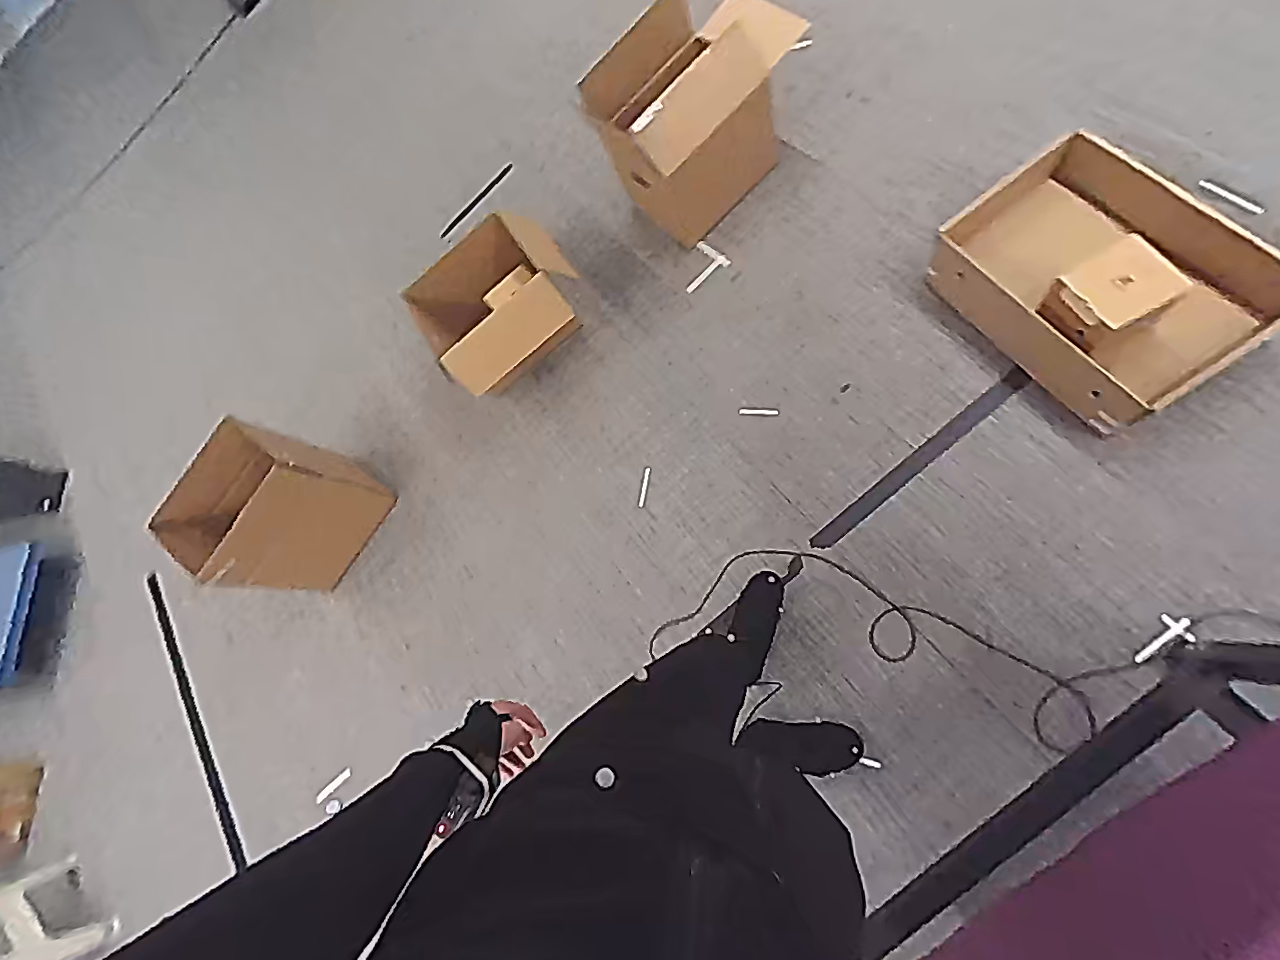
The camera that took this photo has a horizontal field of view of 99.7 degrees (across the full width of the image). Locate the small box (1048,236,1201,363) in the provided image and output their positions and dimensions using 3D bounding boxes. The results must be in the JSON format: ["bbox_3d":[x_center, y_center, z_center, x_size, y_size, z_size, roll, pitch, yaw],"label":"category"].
[{"bbox_3d":[1.057,-0.392,1.207,0.179,0.176,0.168,-29,68,10],"label":"small box"}]
